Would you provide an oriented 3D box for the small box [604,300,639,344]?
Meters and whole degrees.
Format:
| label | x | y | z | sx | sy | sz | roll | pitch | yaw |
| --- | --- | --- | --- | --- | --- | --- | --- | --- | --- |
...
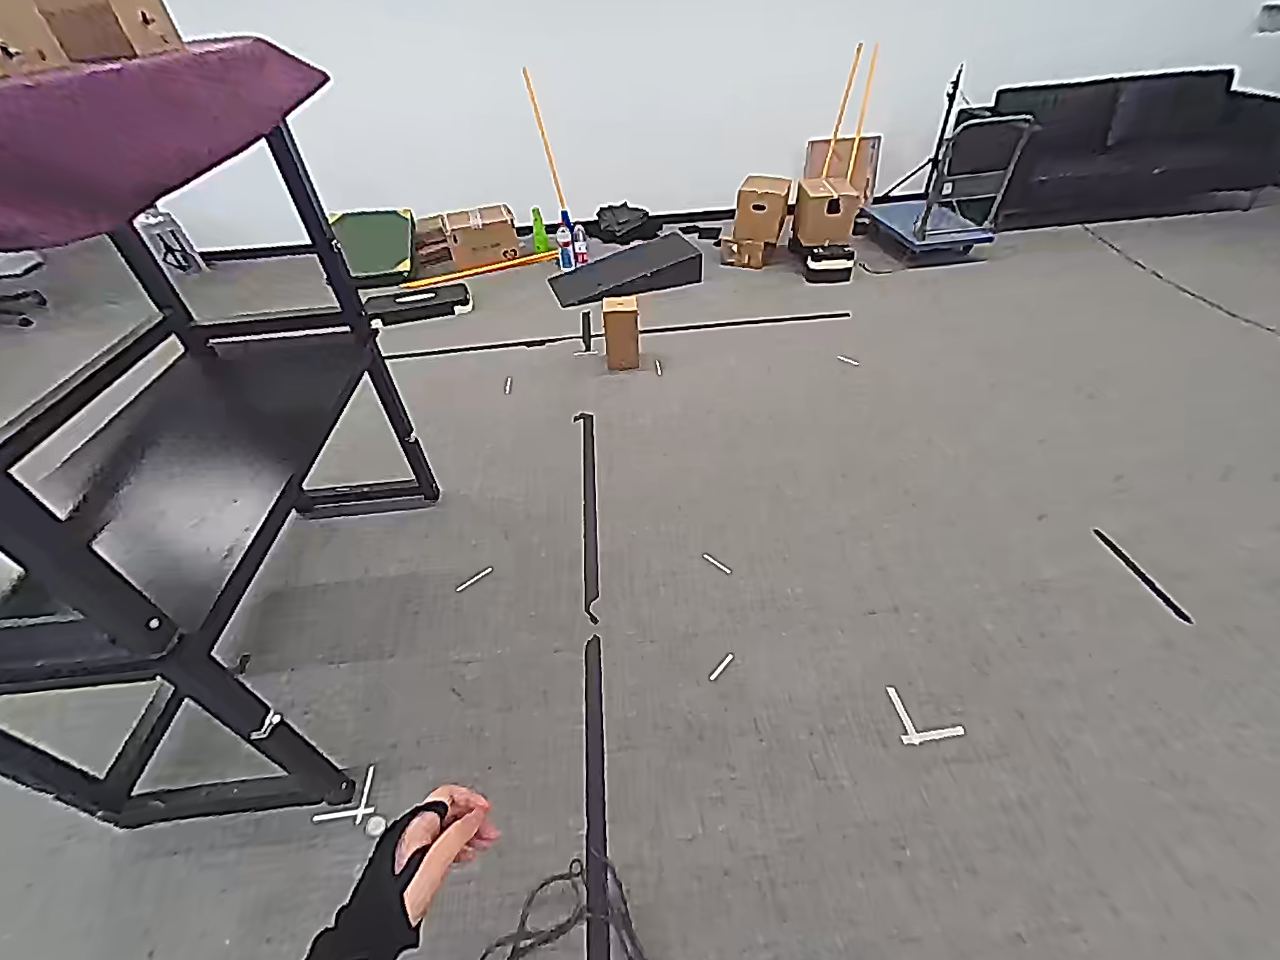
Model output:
| label | x | y | z | sx | sy | sz | roll | pitch | yaw |
| --- | --- | --- | --- | --- | --- | --- | --- | --- | --- |
| small box | -0.094 | -0.822 | 2.812 | 0.179 | 0.176 | 0.168 | -2 | 42 | 1 |

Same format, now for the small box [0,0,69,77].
| label | x | y | z | sx | sy | sz | roll | pitch | yaw |
| --- | --- | --- | --- | --- | --- | --- | --- | --- | --- |
| small box | -1.063 | -0.719 | 0.827 | 0.179 | 0.176 | 0.168 | -9 | 42 | -5 |

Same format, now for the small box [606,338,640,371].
| label | x | y | z | sx | sy | sz | roll | pitch | yaw |
| --- | --- | --- | --- | --- | --- | --- | --- | --- | --- |
| small box | -0.094 | -0.702 | 2.924 | 0.179 | 0.176 | 0.168 | -3 | 42 | -2 |

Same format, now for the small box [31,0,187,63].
| label | x | y | z | sx | sy | sz | roll | pitch | yaw |
| --- | --- | --- | --- | --- | --- | --- | --- | --- | --- |
| small box | -1.074 | -0.942 | 1.072 | 0.179 | 0.176 | 0.168 | -3 | 43 | 1 |
